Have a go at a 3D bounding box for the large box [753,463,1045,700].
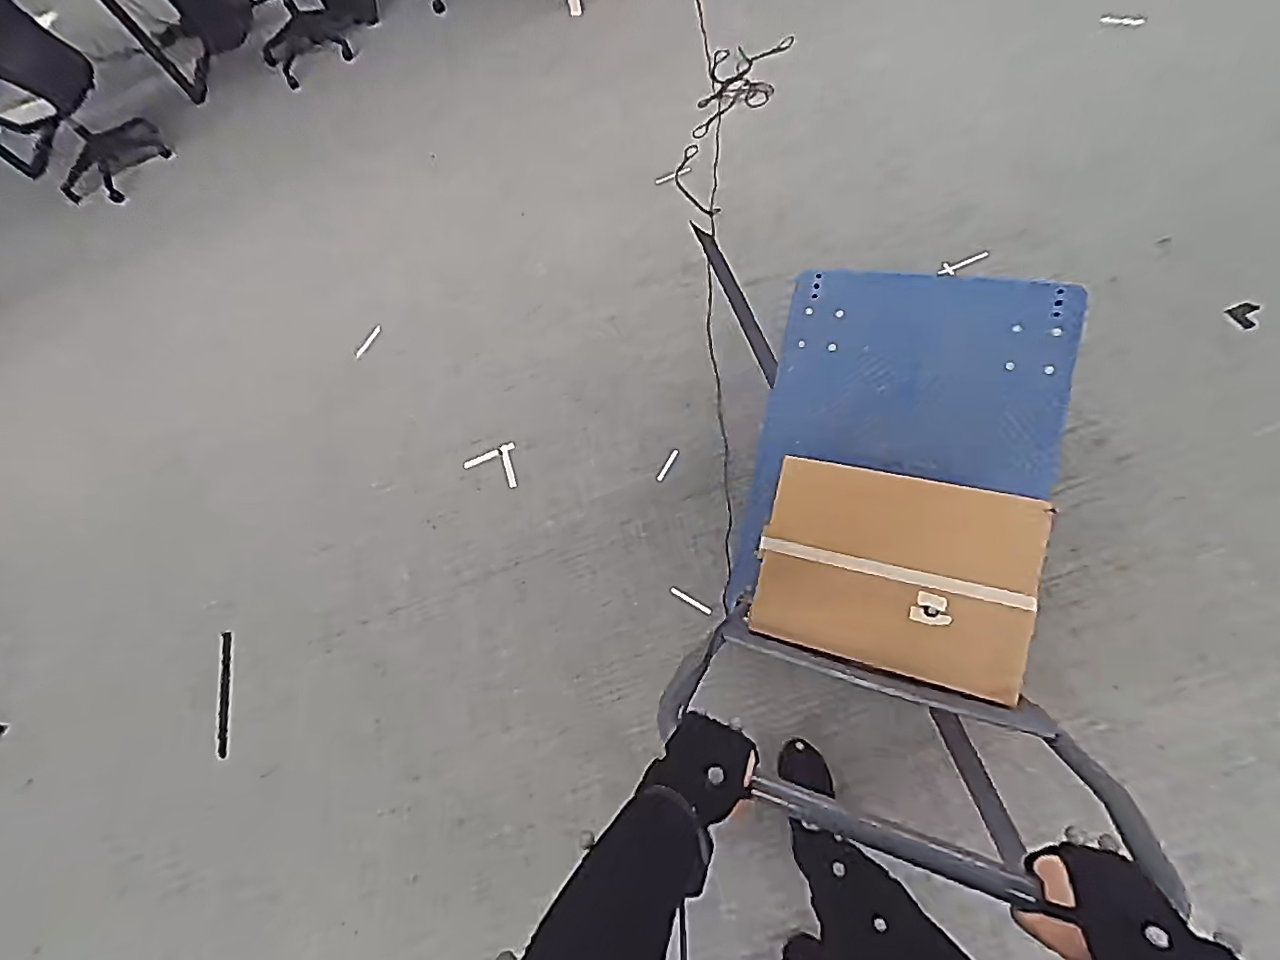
[{"bbox_3d":[0.455,0.170,1.029,0.408,0.320,0.320,12,88,19],"label":"large box"}]
